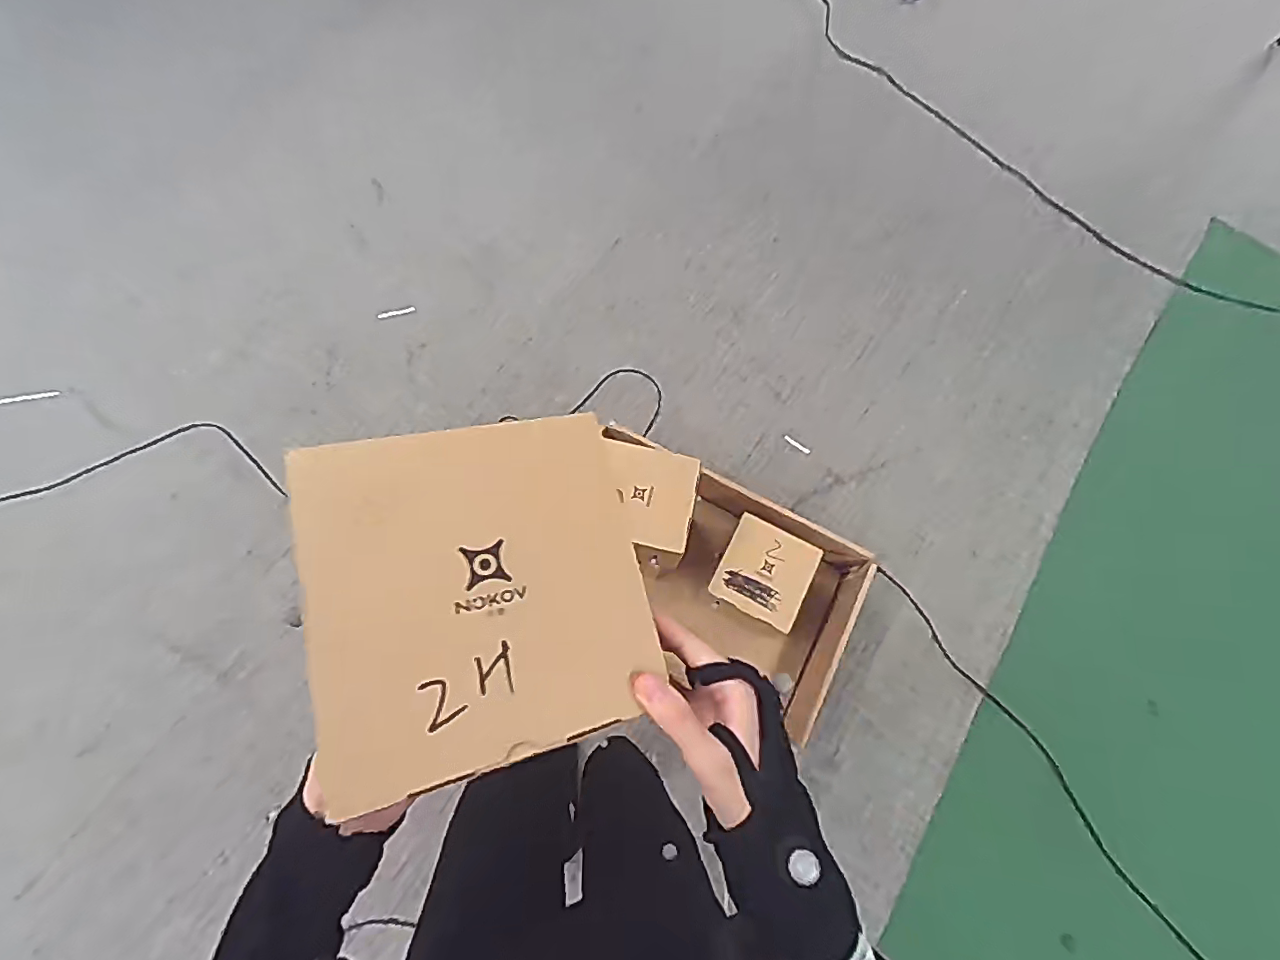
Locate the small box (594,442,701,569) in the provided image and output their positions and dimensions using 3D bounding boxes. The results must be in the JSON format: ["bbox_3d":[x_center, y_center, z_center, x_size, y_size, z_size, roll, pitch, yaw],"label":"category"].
[{"bbox_3d":[-0.002,0.054,0.955,0.179,0.176,0.168,13,72,3],"label":"small box"}]

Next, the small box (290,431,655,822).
[{"bbox_3d":[-0.112,0.087,0.361,0.168,0.176,0.179,-10,75,-21],"label":"small box"}]
